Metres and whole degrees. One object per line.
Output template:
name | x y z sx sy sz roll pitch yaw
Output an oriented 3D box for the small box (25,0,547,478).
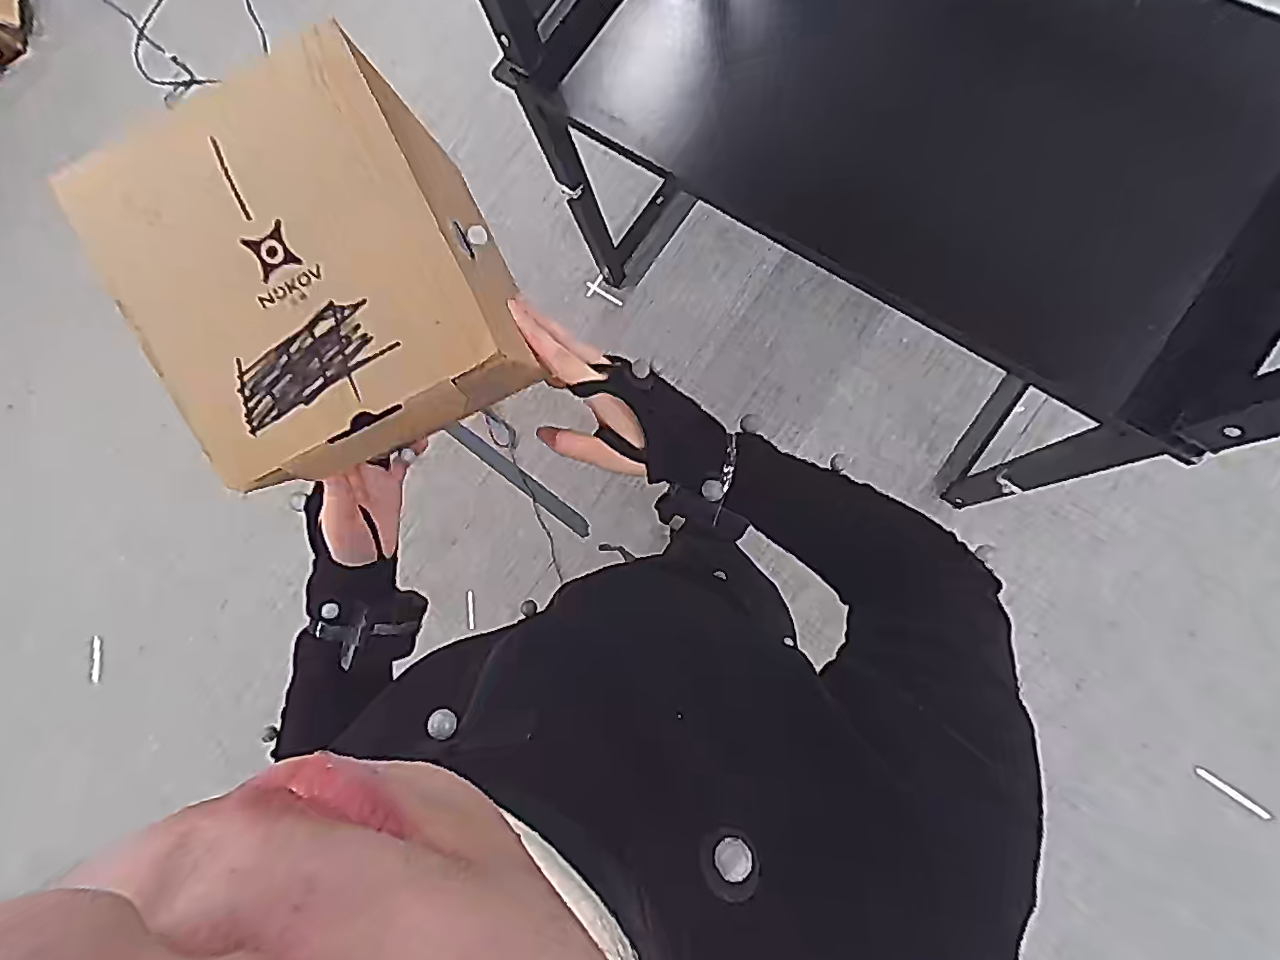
small box | -0.176 -0.123 0.335 0.168 0.176 0.179 -25 98 5
